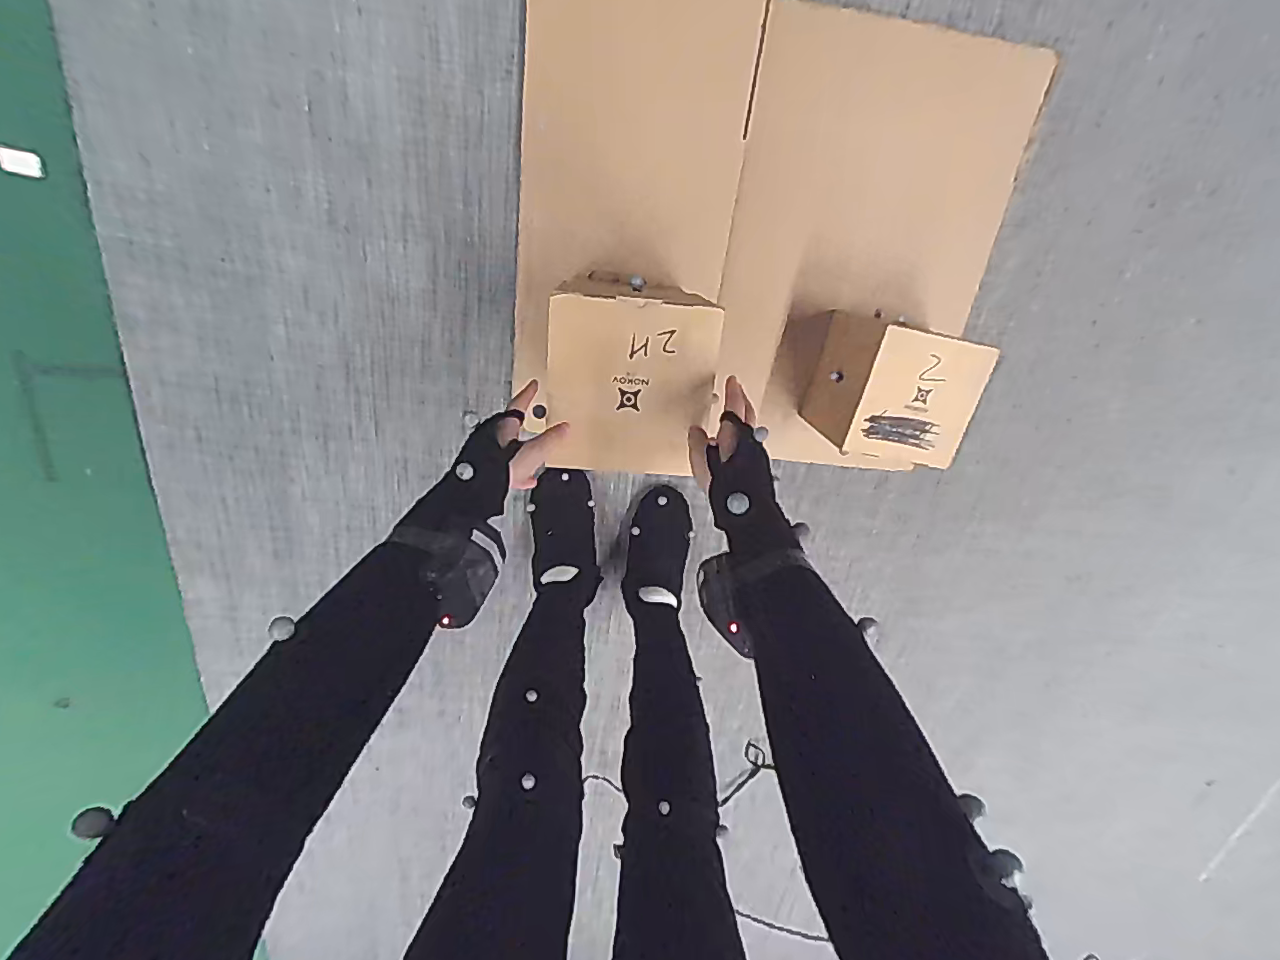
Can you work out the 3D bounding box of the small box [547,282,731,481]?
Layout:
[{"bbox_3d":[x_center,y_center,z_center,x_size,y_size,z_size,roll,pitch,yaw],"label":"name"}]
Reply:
[{"bbox_3d":[-0.009,-0.116,0.603,0.168,0.176,0.179,5,112,-6],"label":"small box"}]
